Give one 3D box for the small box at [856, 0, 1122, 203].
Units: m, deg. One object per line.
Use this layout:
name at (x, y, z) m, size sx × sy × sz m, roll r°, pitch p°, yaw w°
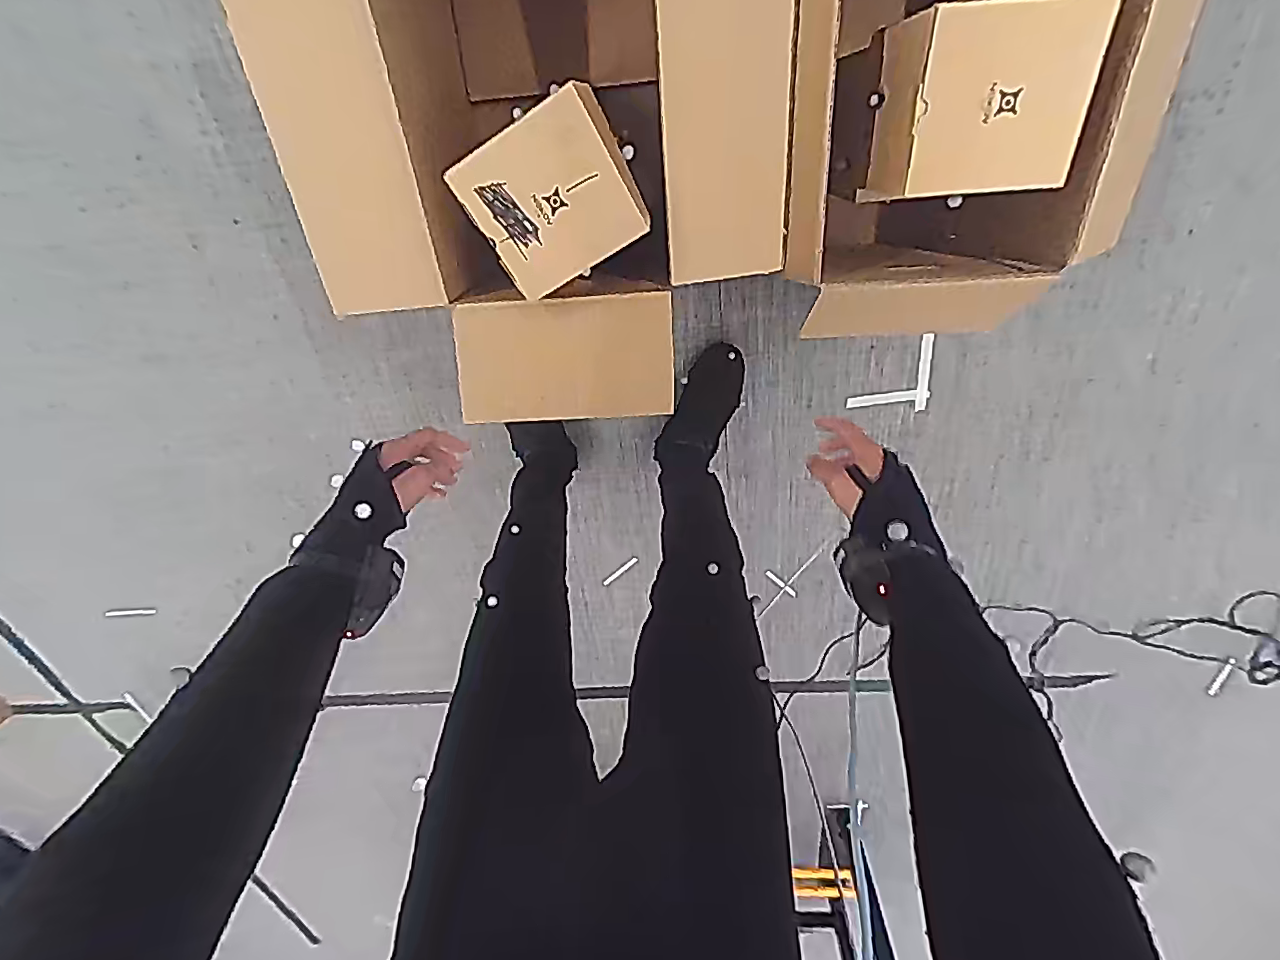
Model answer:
small box at (0.371, -0.422, 0.618) m, size 0.179 × 0.176 × 0.168 m, roll -2°, pitch 123°, yaw 4°
